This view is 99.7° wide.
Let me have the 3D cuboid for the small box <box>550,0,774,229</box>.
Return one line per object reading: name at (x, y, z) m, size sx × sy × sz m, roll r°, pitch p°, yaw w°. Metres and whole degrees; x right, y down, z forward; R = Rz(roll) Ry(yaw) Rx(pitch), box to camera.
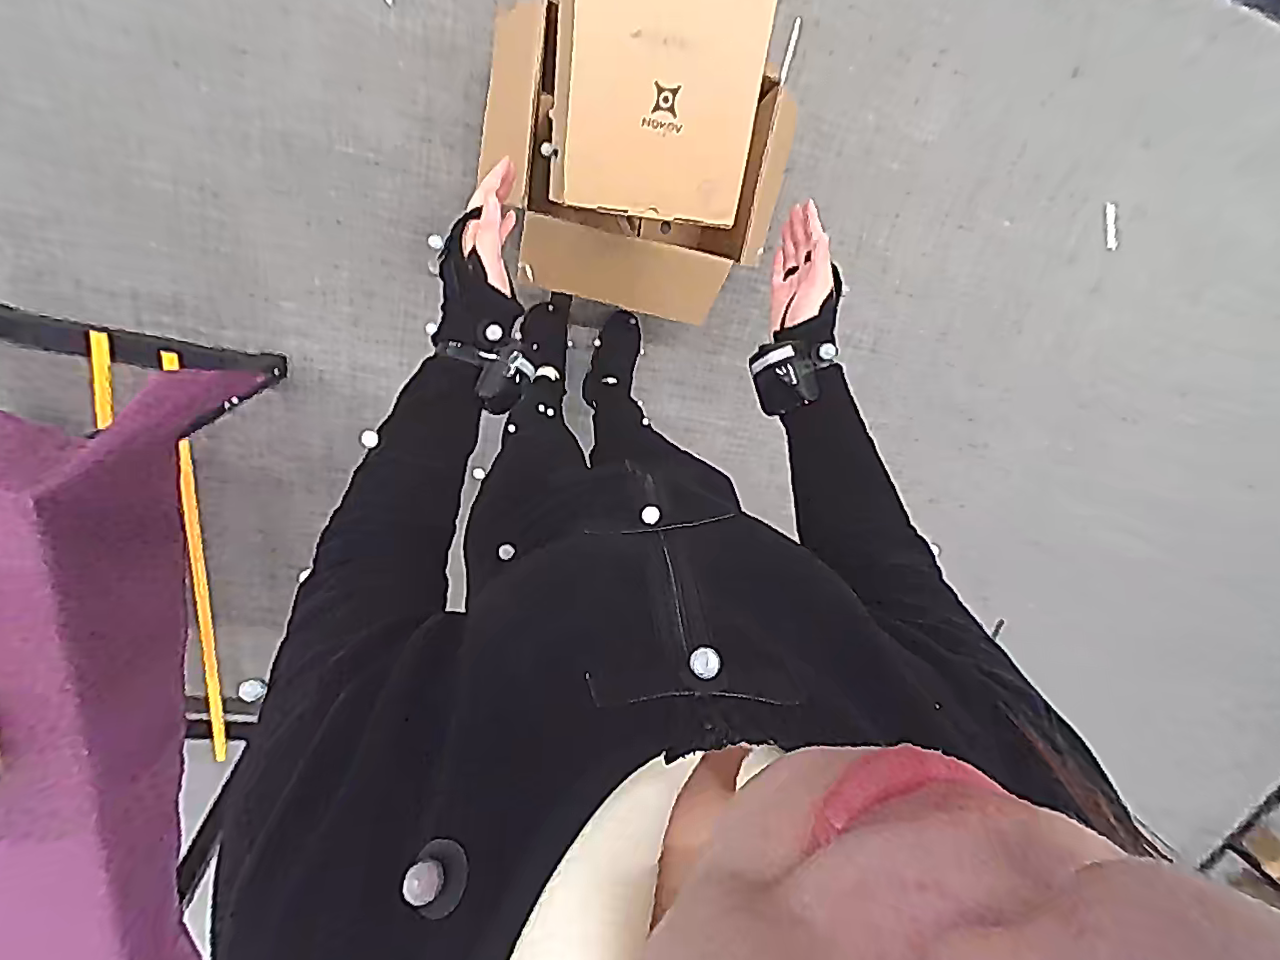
small box at (0.003, -0.357, 0.526) m, size 0.168 × 0.176 × 0.179 m, roll 1°, pitch 118°, yaw -15°
